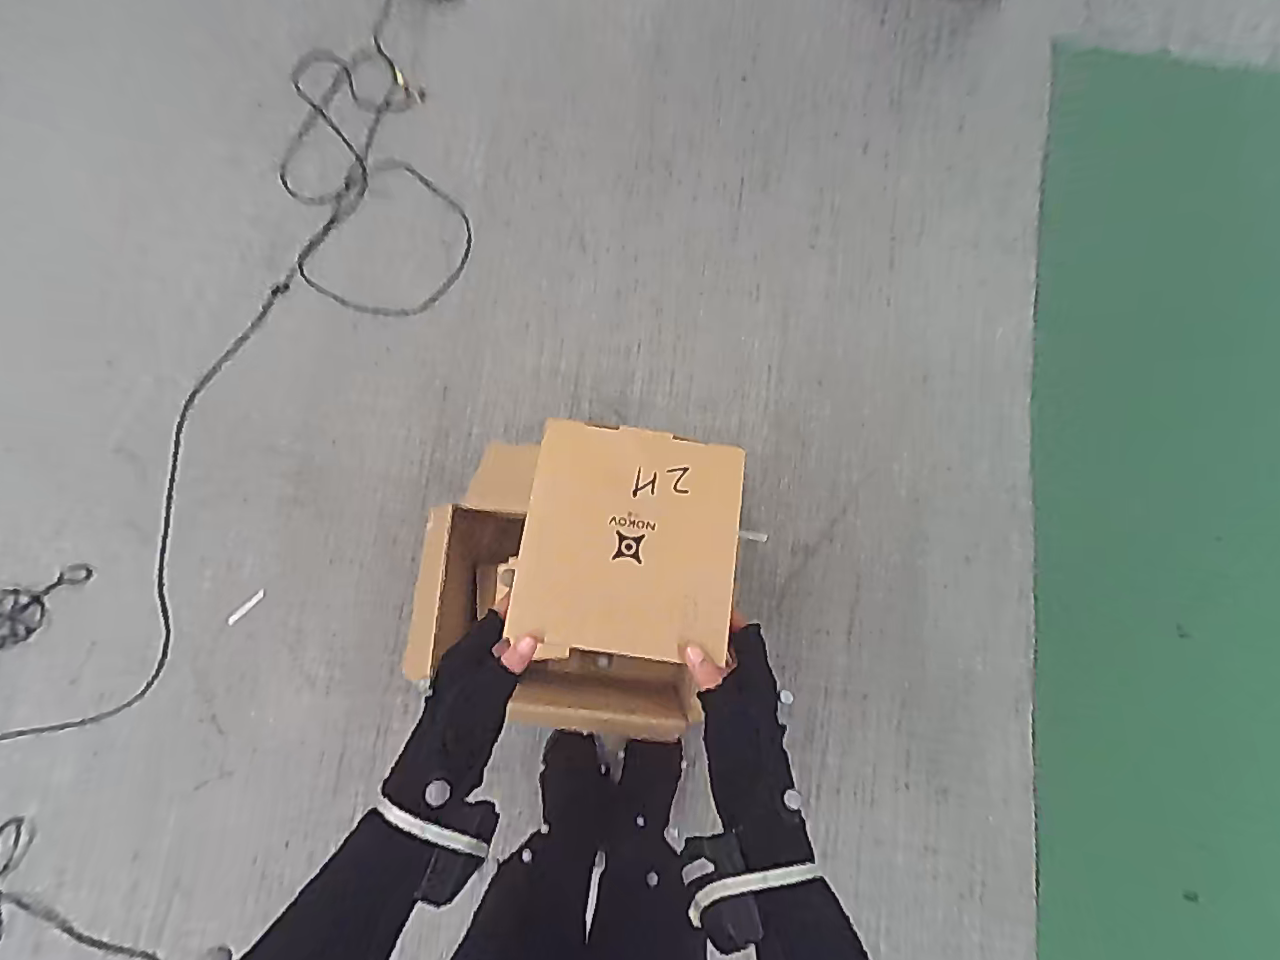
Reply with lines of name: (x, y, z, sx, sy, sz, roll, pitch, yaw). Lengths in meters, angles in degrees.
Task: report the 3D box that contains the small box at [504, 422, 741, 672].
small box: (-0.014, 0.068, 0.494, 0.168, 0.176, 0.179, 8, 74, -3)
